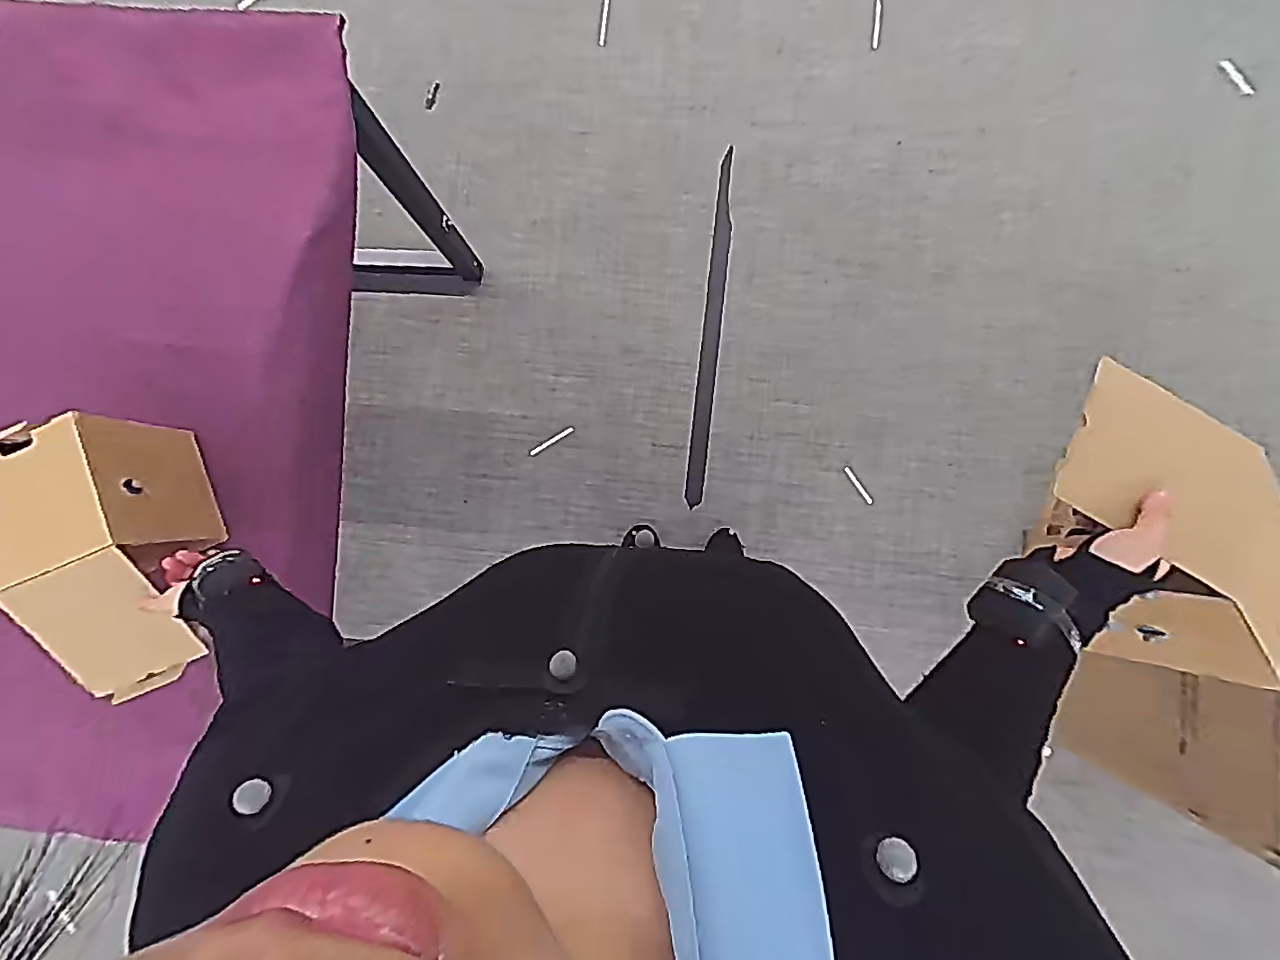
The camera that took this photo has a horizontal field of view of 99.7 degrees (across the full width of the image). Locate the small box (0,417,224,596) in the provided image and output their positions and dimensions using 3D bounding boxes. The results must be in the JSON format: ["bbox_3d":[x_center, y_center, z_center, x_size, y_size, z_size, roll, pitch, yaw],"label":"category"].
[{"bbox_3d":[-0.713,0.036,0.727,0.168,0.176,0.179,-22,84,1],"label":"small box"}]
